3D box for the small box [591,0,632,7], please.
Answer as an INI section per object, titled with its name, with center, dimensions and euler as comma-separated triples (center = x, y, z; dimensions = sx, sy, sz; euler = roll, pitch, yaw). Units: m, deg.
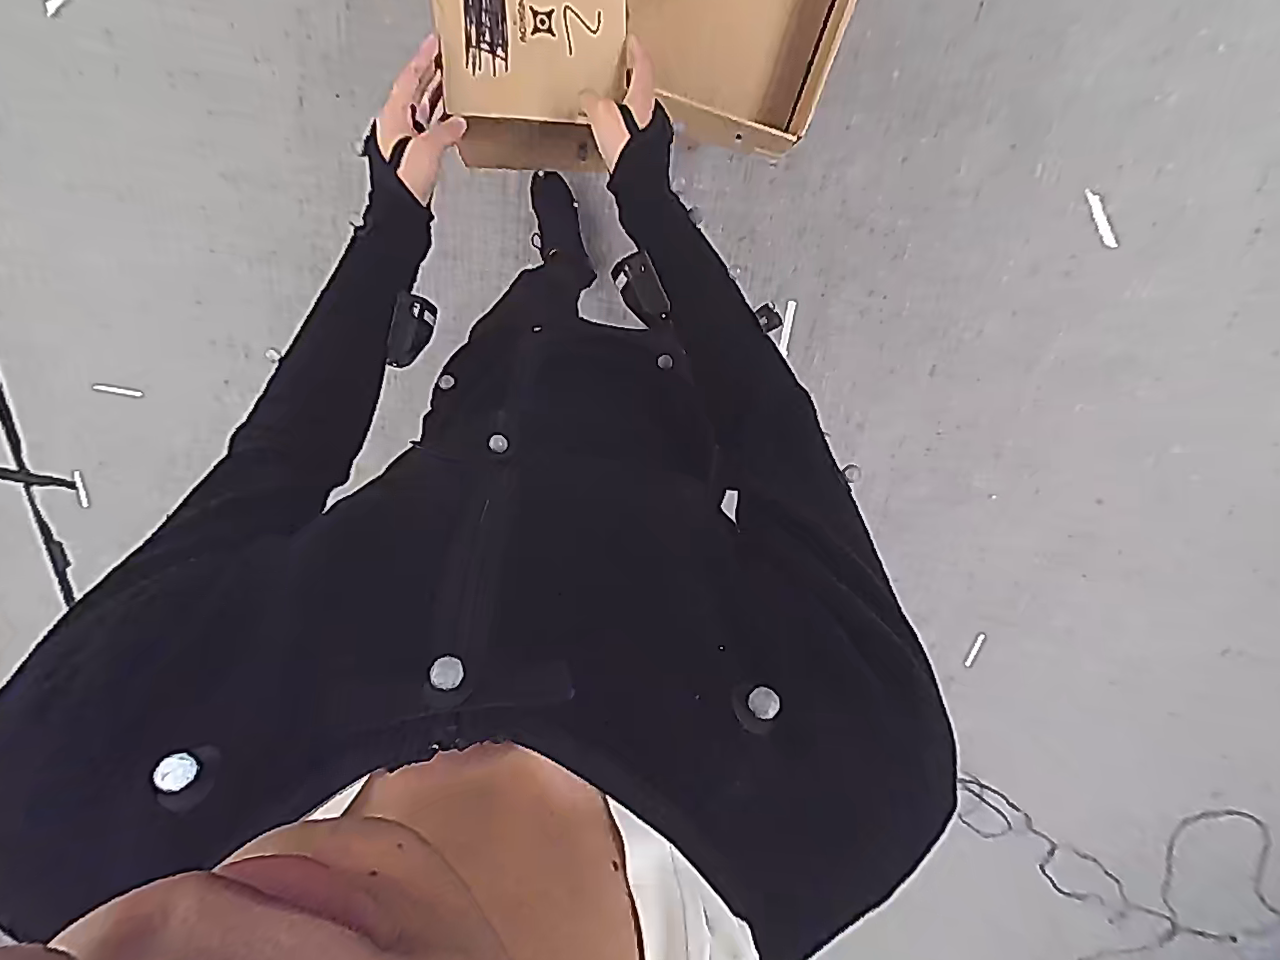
[small box]
center = -0.087, -0.850, 0.801
dimensions = 0.179, 0.176, 0.168
euler = 15, 113, -3
